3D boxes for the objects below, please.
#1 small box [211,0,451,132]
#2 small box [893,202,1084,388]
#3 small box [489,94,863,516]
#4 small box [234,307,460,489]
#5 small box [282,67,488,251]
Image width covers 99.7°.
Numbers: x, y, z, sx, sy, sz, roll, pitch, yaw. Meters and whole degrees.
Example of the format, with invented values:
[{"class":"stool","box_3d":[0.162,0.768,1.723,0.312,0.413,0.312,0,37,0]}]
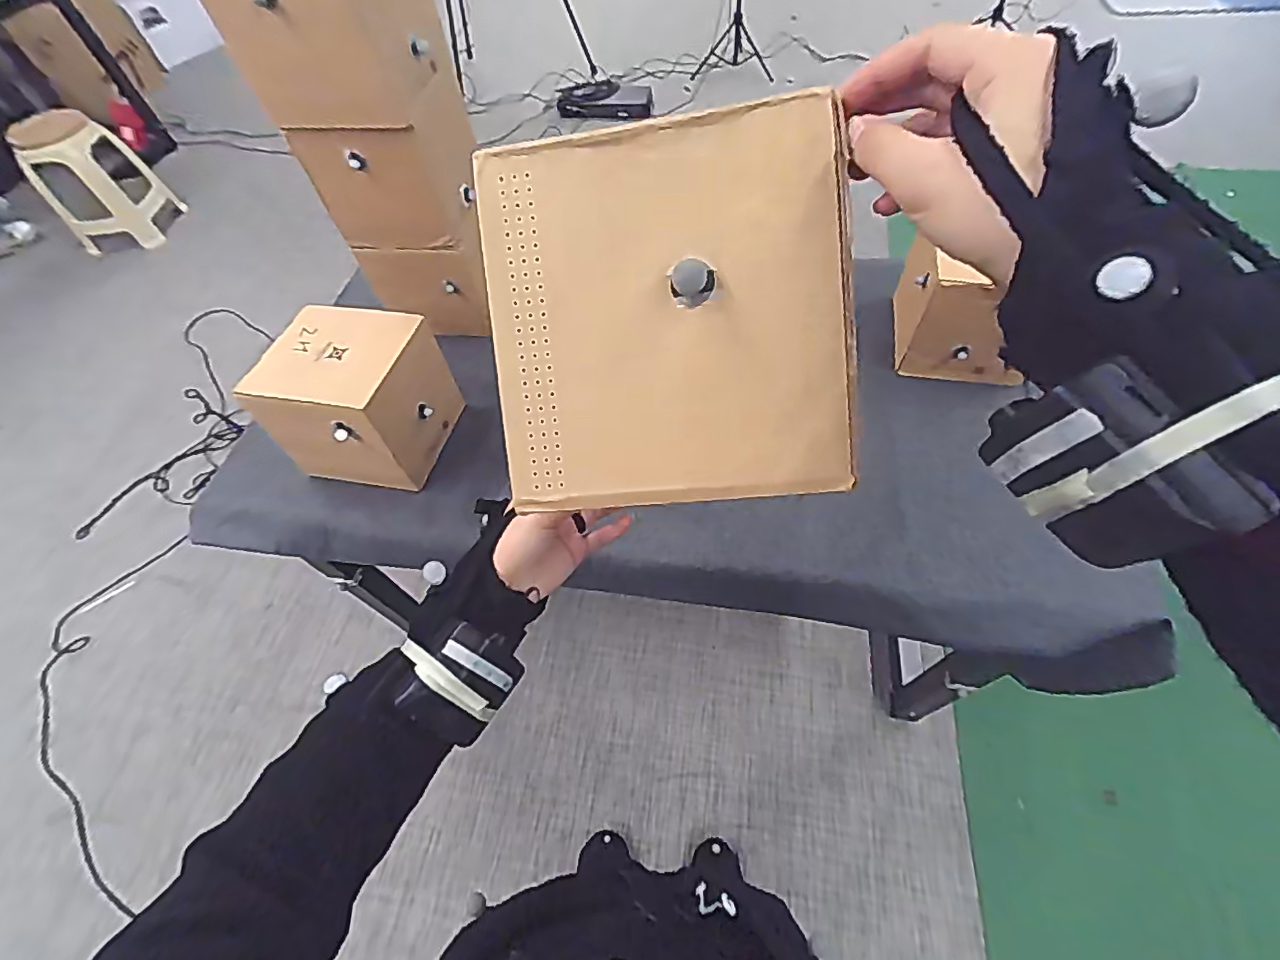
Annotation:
[{"class":"small box","box_3d":[-0.343,-0.519,0.606,0.179,0.176,0.168,5,60,6]},{"class":"small box","box_3d":[0.466,-0.257,0.759,0.168,0.176,0.179,8,60,10]},{"class":"small box","box_3d":[0.022,-0.082,0.328,0.176,0.168,0.179,-5,96,10]},{"class":"small box","box_3d":[-0.369,-0.105,0.725,0.179,0.176,0.168,8,55,9]},{"class":"small box","box_3d":[-0.334,-0.440,0.750,0.179,0.176,0.168,3,60,5]}]
